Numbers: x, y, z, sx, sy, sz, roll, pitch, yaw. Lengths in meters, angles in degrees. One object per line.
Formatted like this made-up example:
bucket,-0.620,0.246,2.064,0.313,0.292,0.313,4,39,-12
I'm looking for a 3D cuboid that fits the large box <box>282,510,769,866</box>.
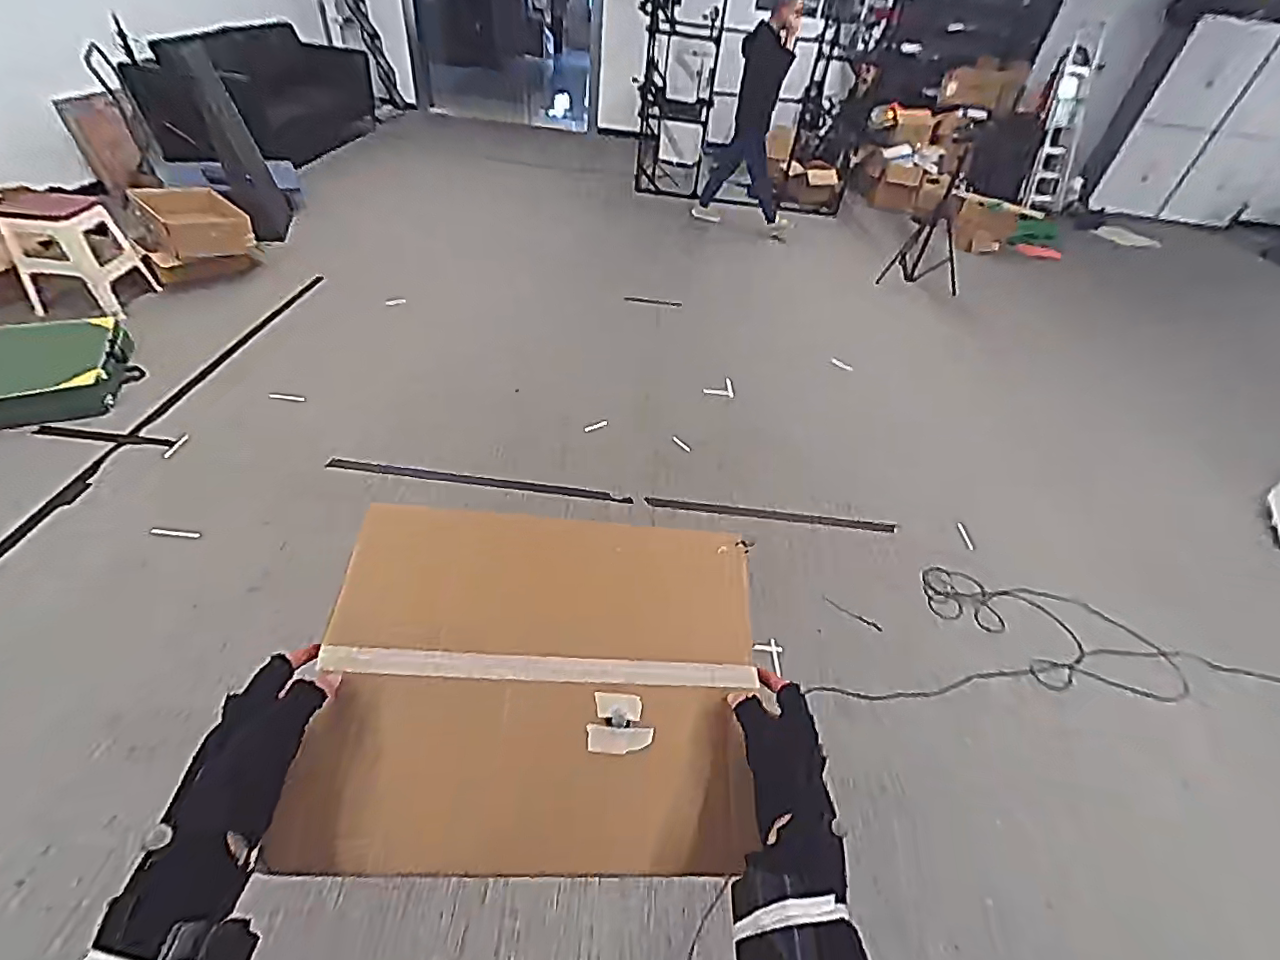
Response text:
large box,-0.107,0.256,0.643,0.408,0.320,0.320,6,58,-8
